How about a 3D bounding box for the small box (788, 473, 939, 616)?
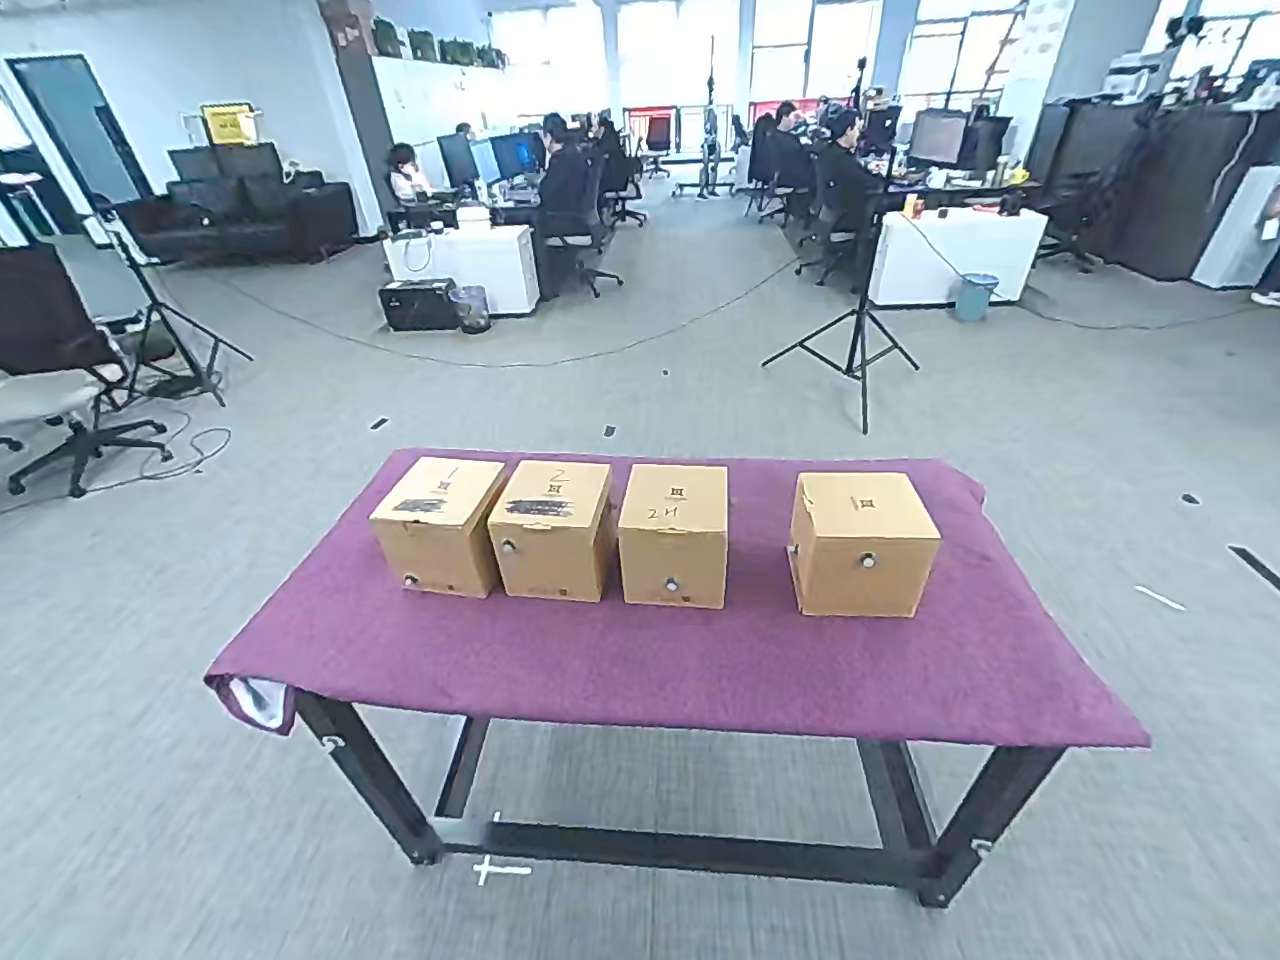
[{"bbox_3d":[0.347,0.104,0.878,0.179,0.176,0.168,0,34,5],"label":"small box"}]
